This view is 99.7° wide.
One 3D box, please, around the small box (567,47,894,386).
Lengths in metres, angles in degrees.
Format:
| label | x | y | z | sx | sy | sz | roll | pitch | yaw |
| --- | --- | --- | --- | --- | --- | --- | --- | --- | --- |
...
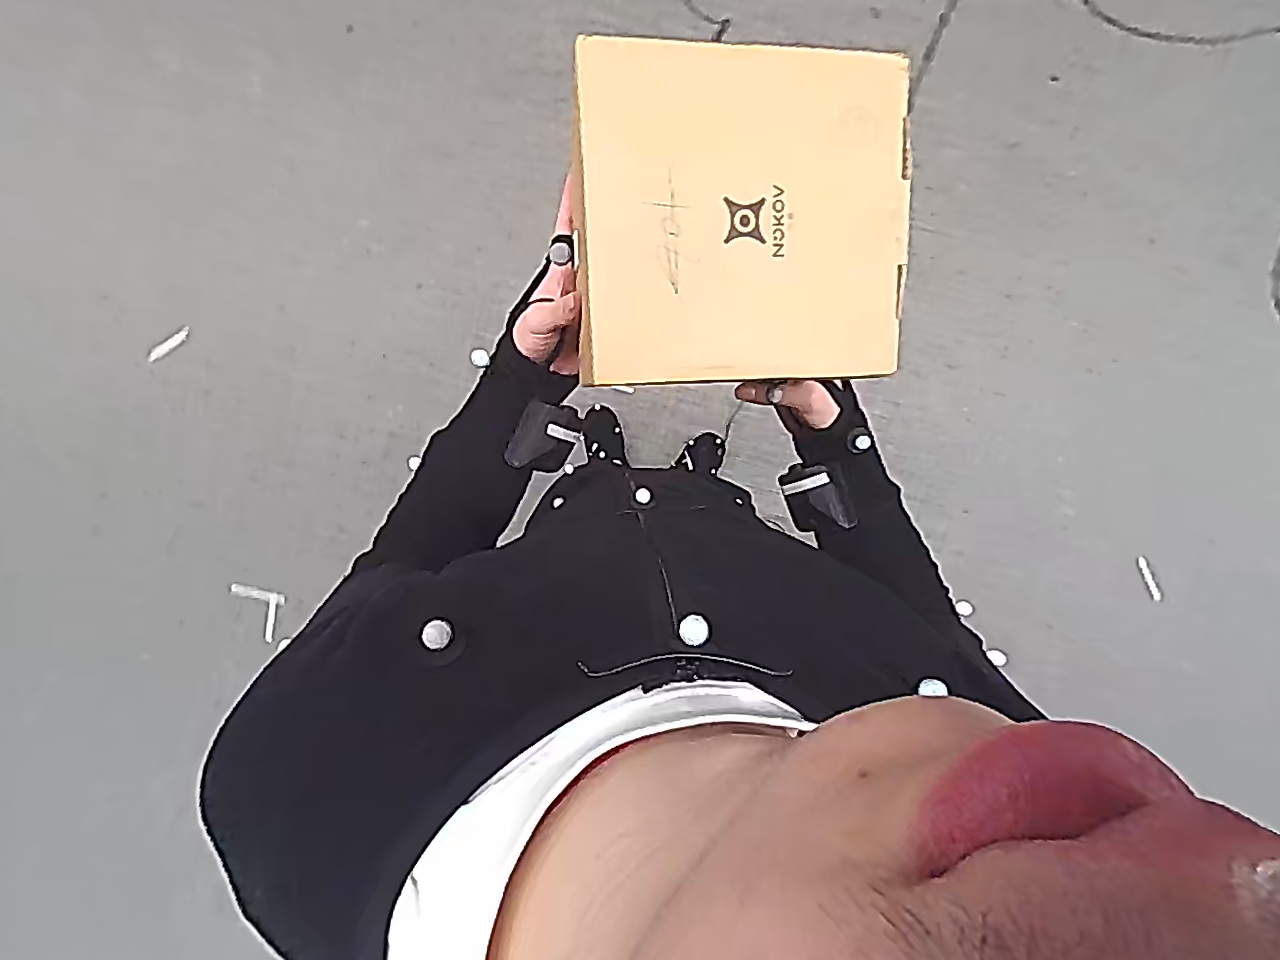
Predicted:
| label | x | y | z | sx | sy | sz | roll | pitch | yaw |
| --- | --- | --- | --- | --- | --- | --- | --- | --- | --- |
| small box | 0.044 | -0.152 | 0.371 | 0.179 | 0.176 | 0.168 | -5 | 99 | -7 |
